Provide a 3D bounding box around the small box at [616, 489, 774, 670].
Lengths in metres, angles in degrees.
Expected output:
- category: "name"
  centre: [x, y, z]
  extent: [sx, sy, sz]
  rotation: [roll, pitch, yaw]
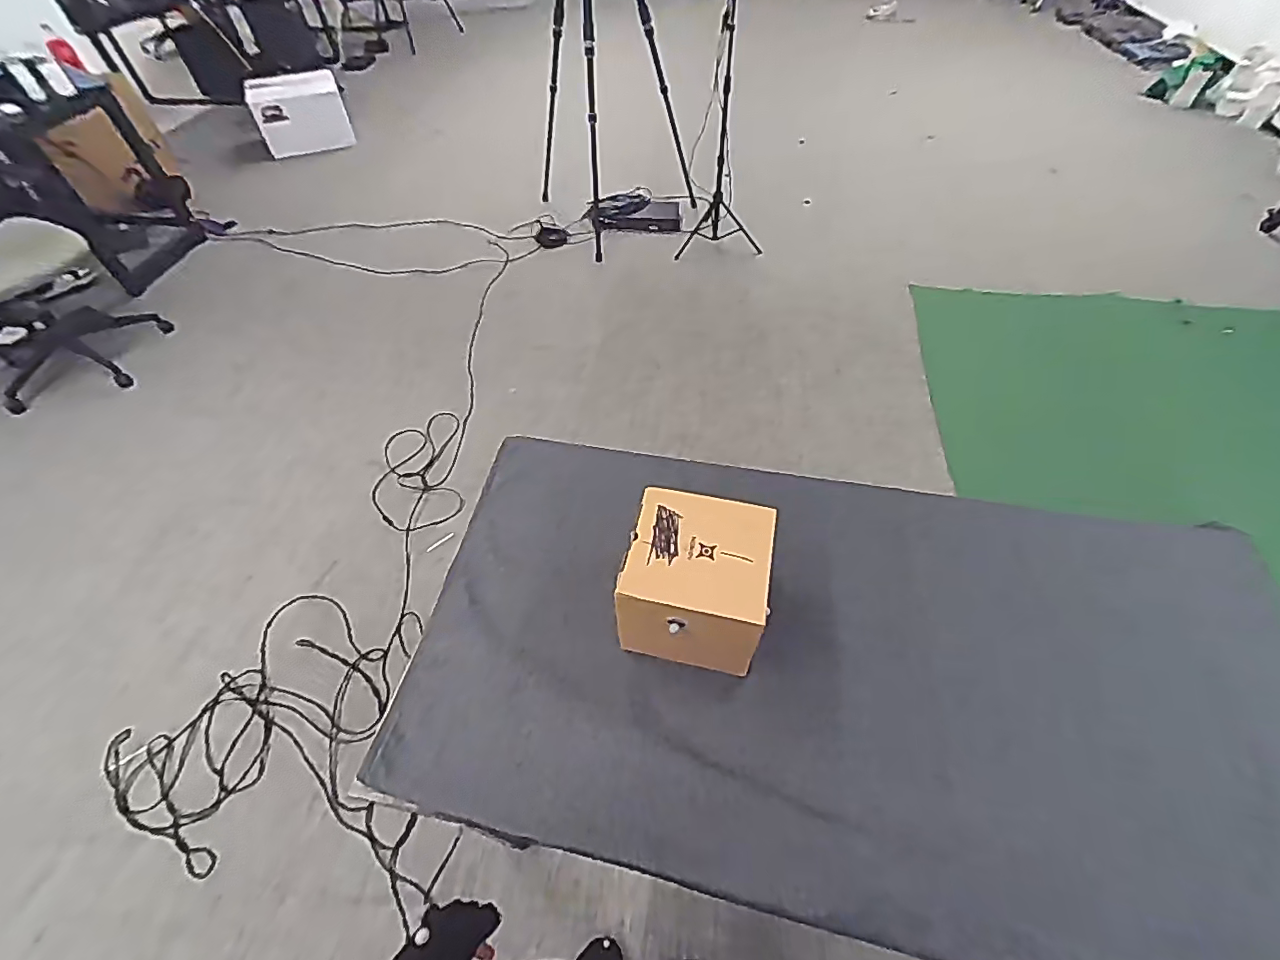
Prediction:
- category: "small box"
  centre: [0.074, 0.139, 0.738]
  extent: [0.179, 0.176, 0.168]
  rotation: [11, 52, 9]
